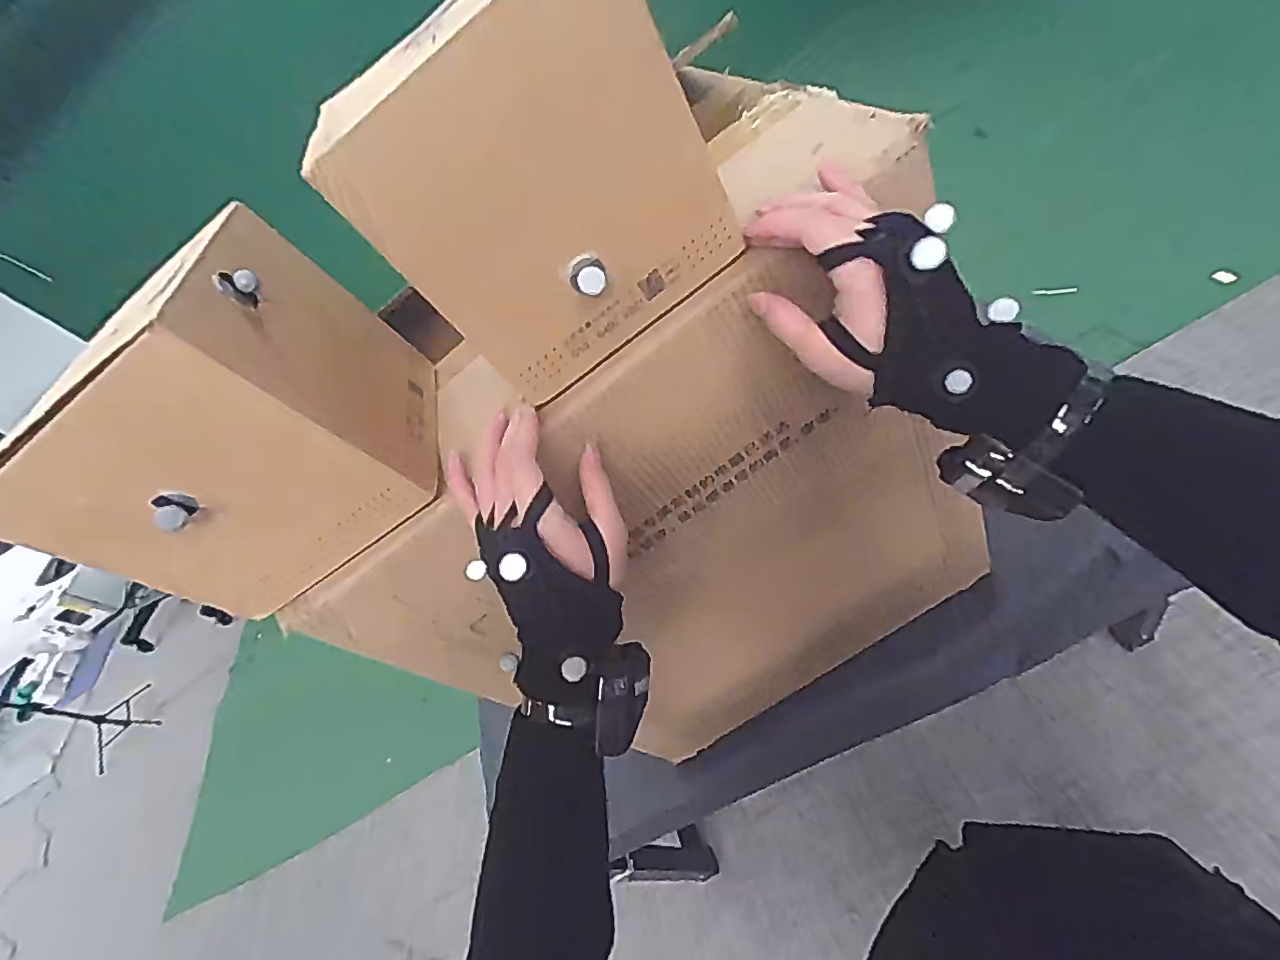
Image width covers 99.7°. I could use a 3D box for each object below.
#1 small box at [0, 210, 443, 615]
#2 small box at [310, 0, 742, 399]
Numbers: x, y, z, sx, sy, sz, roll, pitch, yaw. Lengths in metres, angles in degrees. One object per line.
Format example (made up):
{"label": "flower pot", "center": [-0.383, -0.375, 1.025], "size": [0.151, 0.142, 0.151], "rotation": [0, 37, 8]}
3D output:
{"label": "small box", "center": [-0.262, -0.035, 0.370], "size": [0.179, 0.176, 0.168], "rotation": [-34, 46, 12]}
{"label": "small box", "center": [-0.065, -0.183, 0.338], "size": [0.168, 0.176, 0.179], "rotation": [-35, 46, 8]}
